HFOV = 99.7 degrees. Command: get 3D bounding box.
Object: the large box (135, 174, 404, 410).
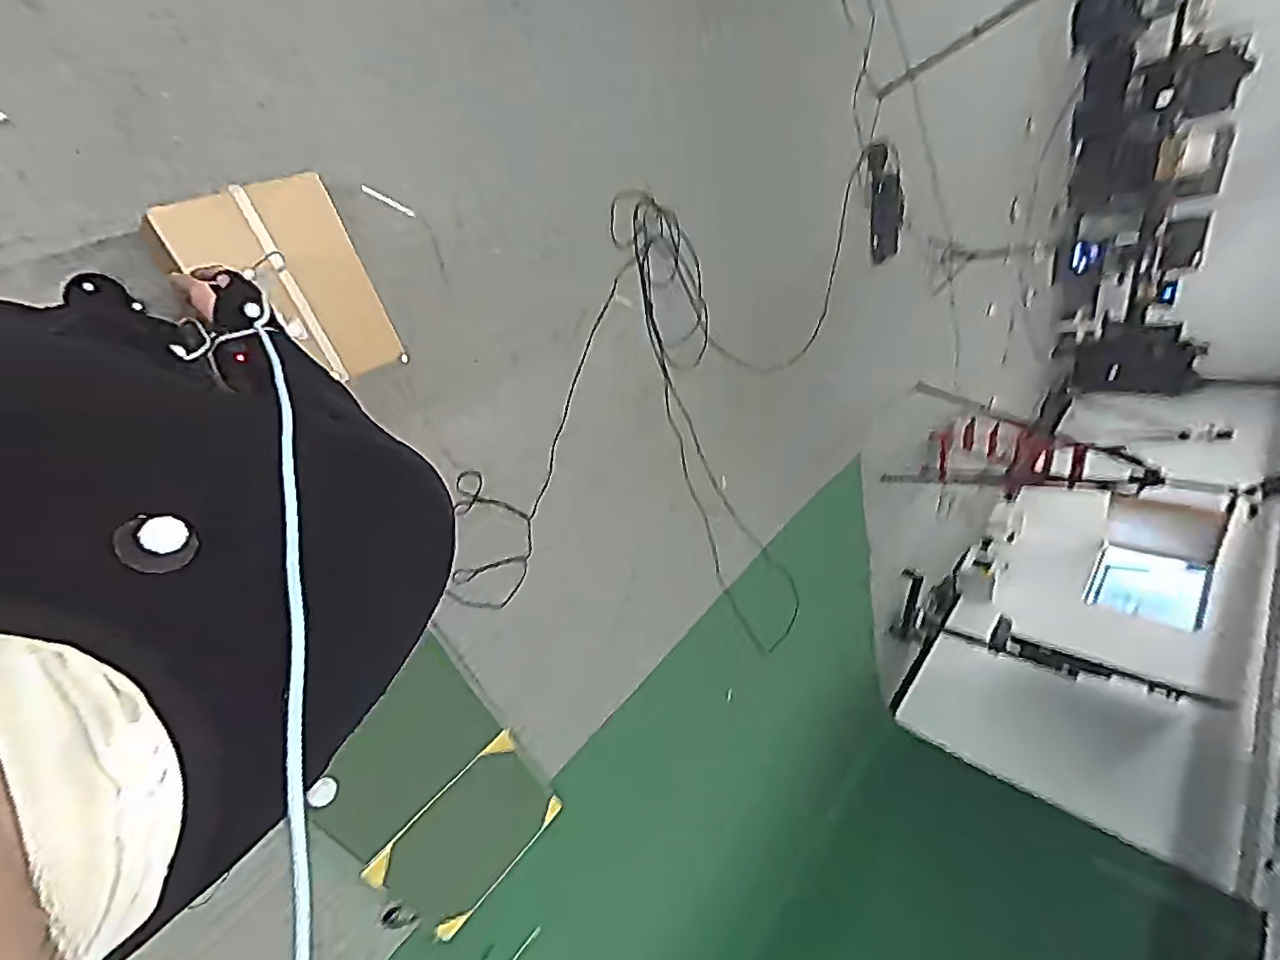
[{"bbox_3d":[-0.832,-0.420,1.237,0.320,0.320,0.408,-38,126,-31],"label":"large box"}]
